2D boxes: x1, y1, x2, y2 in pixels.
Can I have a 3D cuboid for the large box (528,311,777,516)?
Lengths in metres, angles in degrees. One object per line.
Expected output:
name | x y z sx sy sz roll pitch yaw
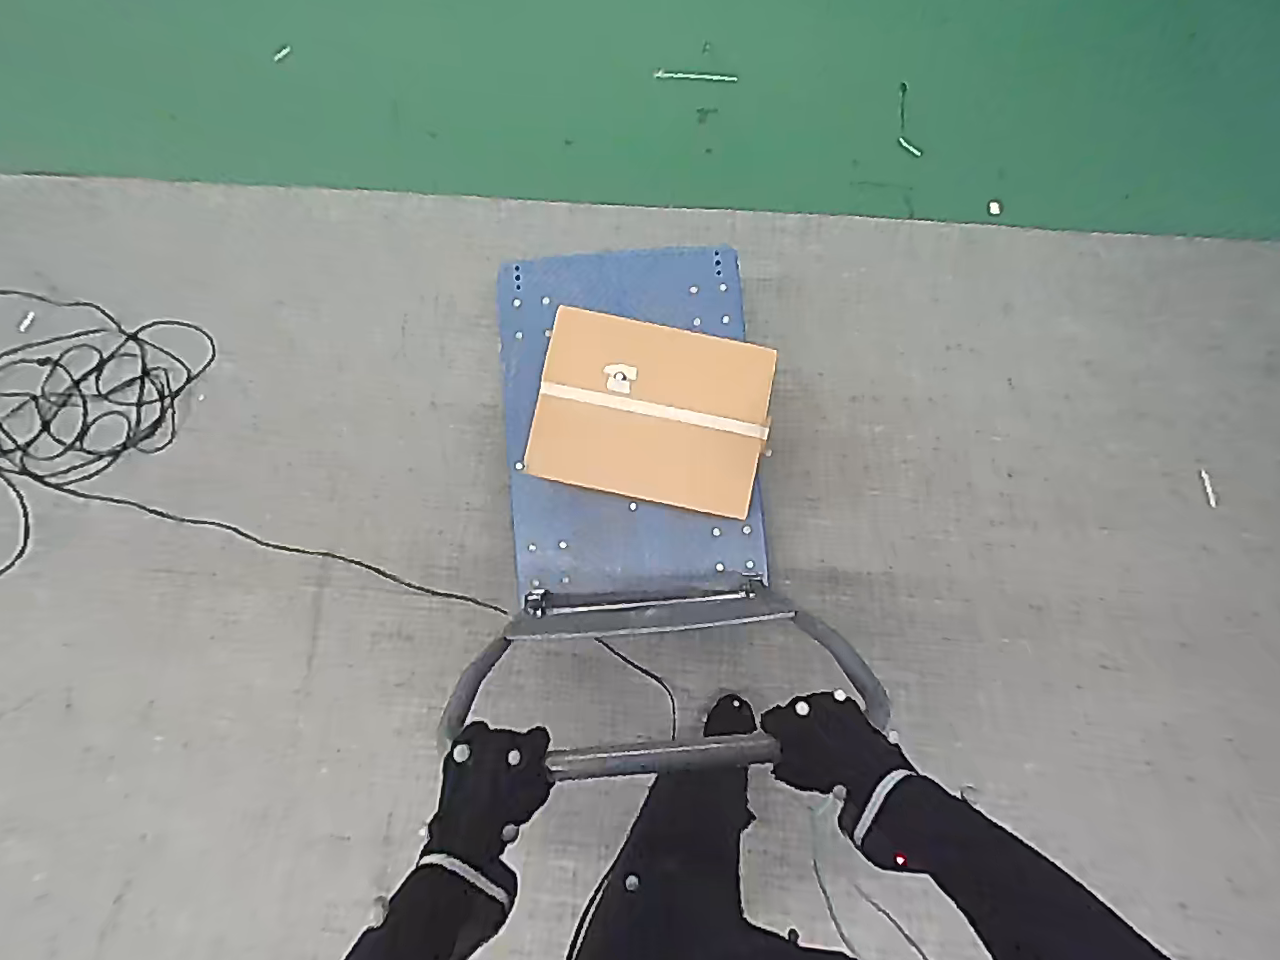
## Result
large box | 0.028 -0.112 1.103 0.408 0.320 0.320 11 86 2
